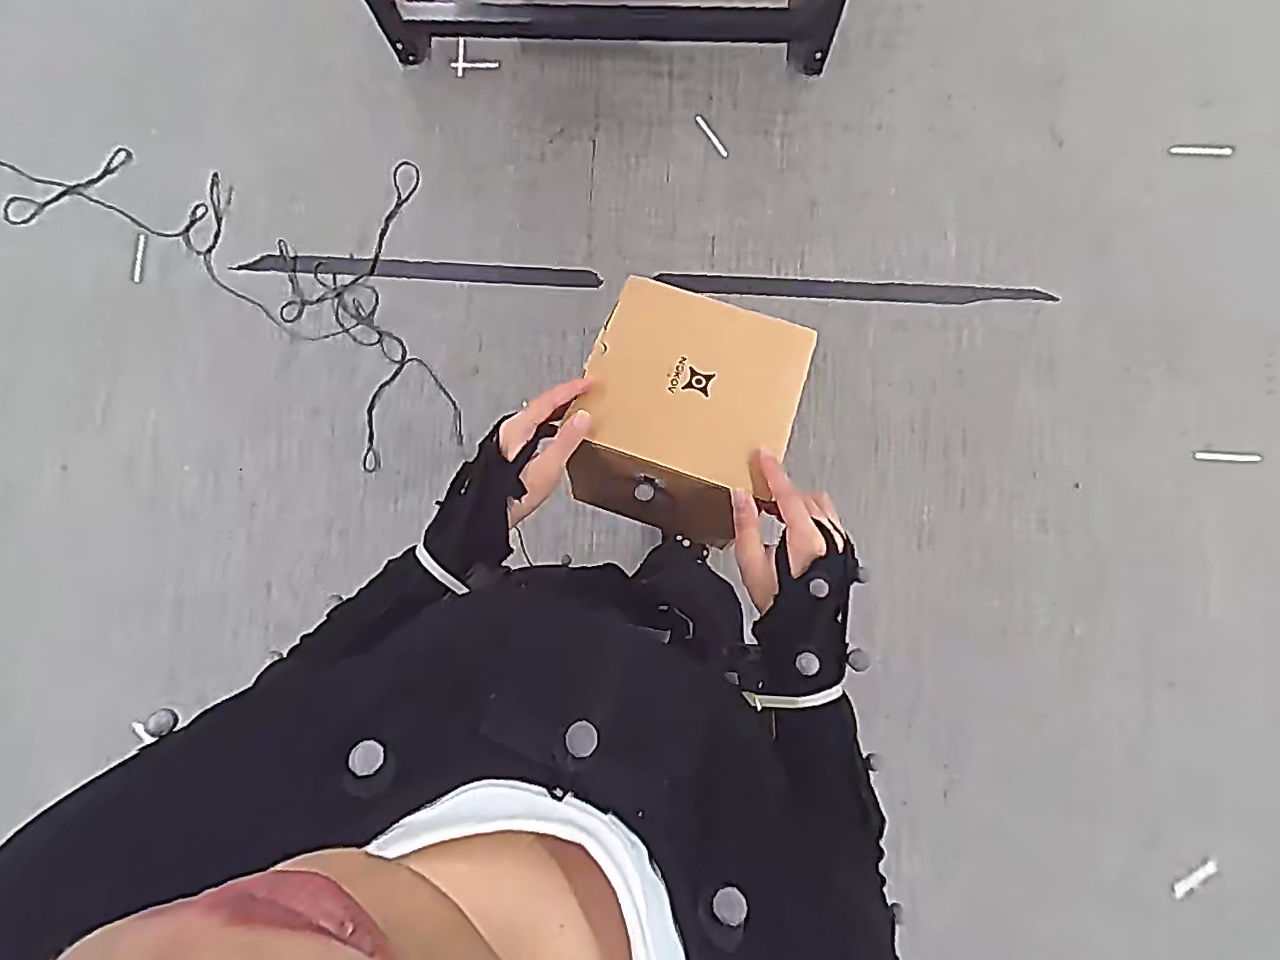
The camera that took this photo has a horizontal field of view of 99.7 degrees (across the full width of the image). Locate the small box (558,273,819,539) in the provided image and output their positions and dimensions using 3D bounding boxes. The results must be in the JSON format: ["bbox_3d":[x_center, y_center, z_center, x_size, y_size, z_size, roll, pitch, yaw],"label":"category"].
[{"bbox_3d":[0.042,-0.055,0.512,0.179,0.176,0.168,18,70,6],"label":"small box"}]
